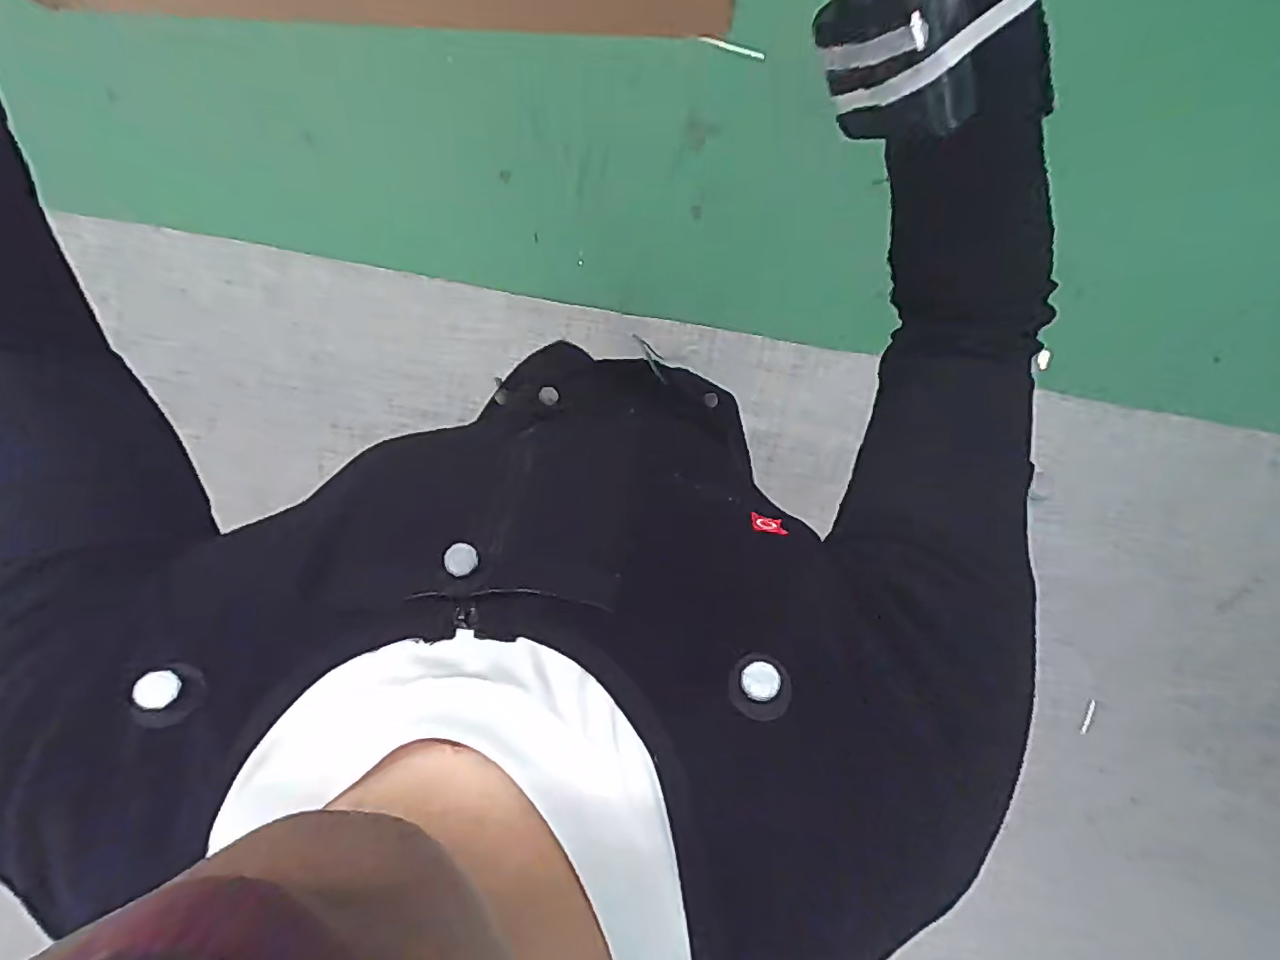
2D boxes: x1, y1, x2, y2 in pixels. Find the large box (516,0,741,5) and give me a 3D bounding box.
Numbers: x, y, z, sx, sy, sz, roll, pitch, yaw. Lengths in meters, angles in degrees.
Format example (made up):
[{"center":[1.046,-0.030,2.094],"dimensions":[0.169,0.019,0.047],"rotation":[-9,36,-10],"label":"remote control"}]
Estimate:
[{"center":[-0.136,-0.397,0.131],"dimensions":[0.408,0.320,0.320],"rotation":[8,98,5],"label":"large box"}]
